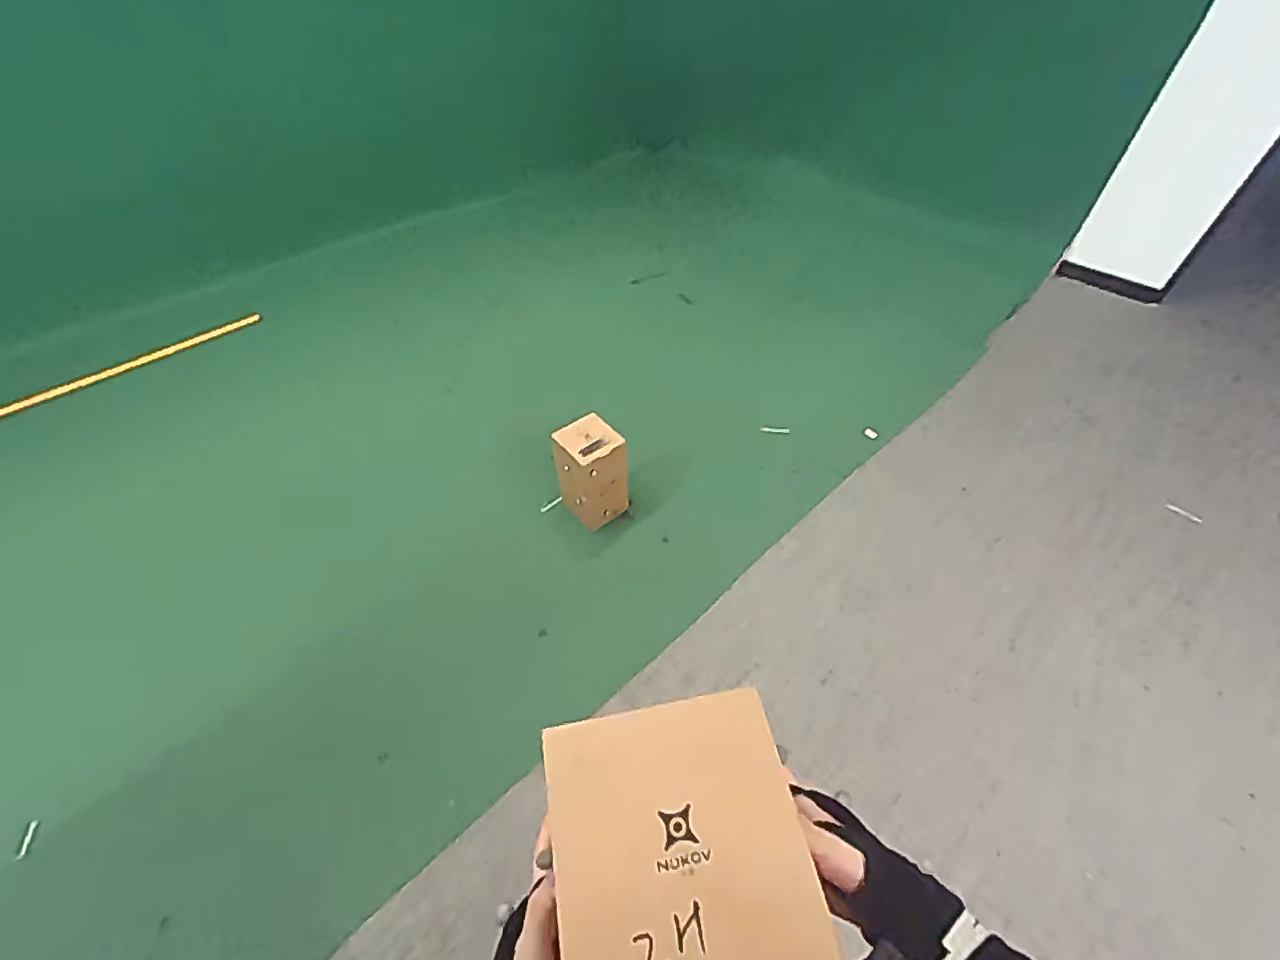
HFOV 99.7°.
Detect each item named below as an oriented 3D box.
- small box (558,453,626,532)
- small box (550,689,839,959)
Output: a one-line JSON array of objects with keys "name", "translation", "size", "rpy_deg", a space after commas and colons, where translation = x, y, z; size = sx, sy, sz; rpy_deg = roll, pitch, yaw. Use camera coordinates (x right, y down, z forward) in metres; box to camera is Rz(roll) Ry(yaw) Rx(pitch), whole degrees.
[{"name": "small box", "translation": [-0.162, 0.046, 1.852], "size": [0.168, 0.176, 0.179], "rpy_deg": [-32, 56, -25]}, {"name": "small box", "translation": [0.024, 0.286, 0.420], "size": [0.168, 0.176, 0.179], "rpy_deg": [-8, 54, -7]}]
